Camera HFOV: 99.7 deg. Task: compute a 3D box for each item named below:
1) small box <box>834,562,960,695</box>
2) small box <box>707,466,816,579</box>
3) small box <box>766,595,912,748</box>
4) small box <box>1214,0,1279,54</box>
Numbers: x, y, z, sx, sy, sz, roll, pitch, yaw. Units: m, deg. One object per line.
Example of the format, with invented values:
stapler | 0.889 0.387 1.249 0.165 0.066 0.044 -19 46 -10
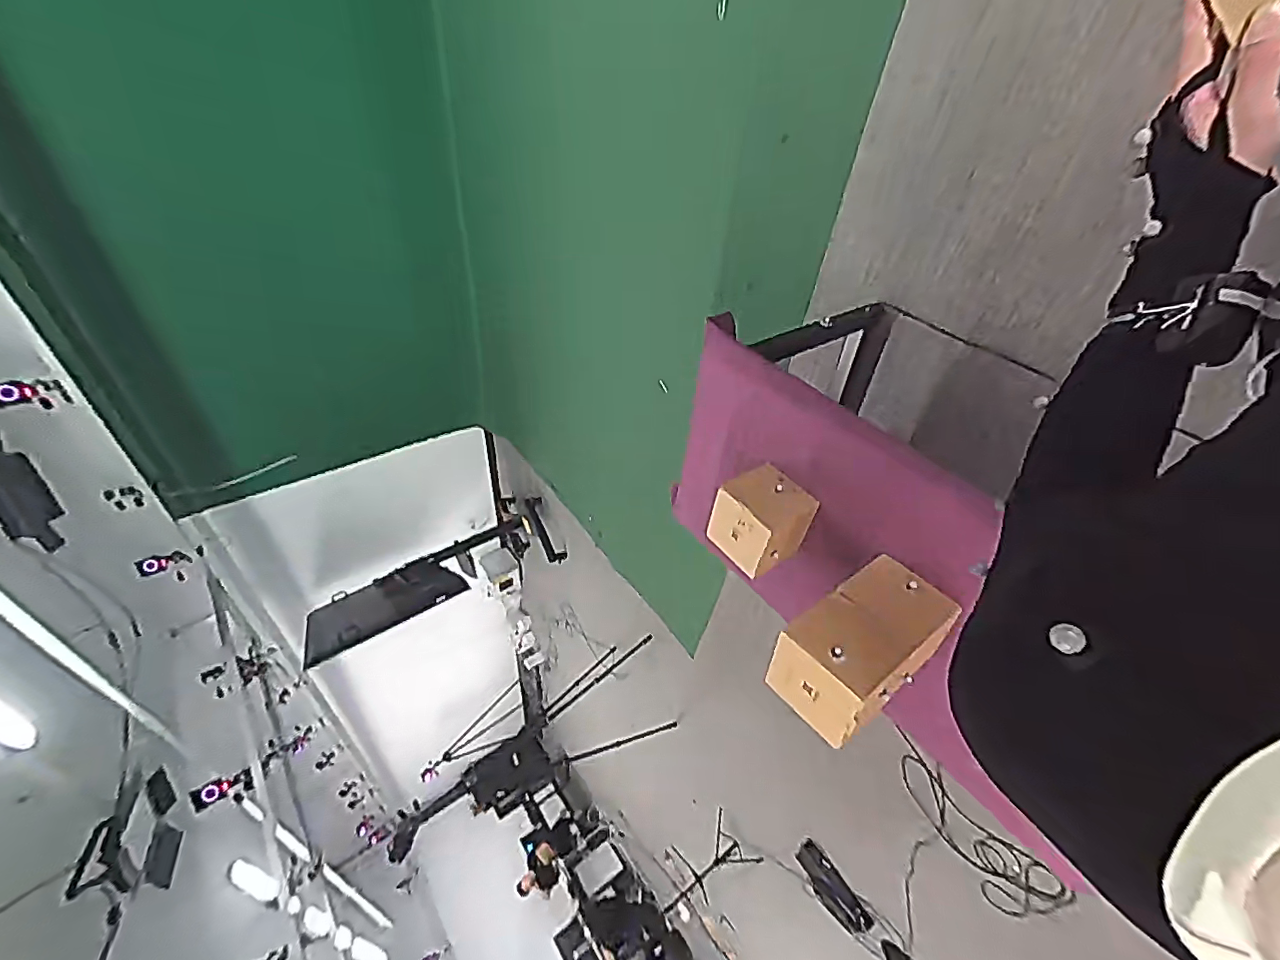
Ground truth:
small box | 0.497 0.289 1.094 0.179 0.176 0.168 41 142 38
small box | 0.289 0.097 1.292 0.168 0.176 0.179 45 144 32
small box | 0.369 0.348 1.011 0.179 0.176 0.168 40 140 37
small box | 0.488 -0.432 0.362 0.168 0.176 0.179 -25 93 53
